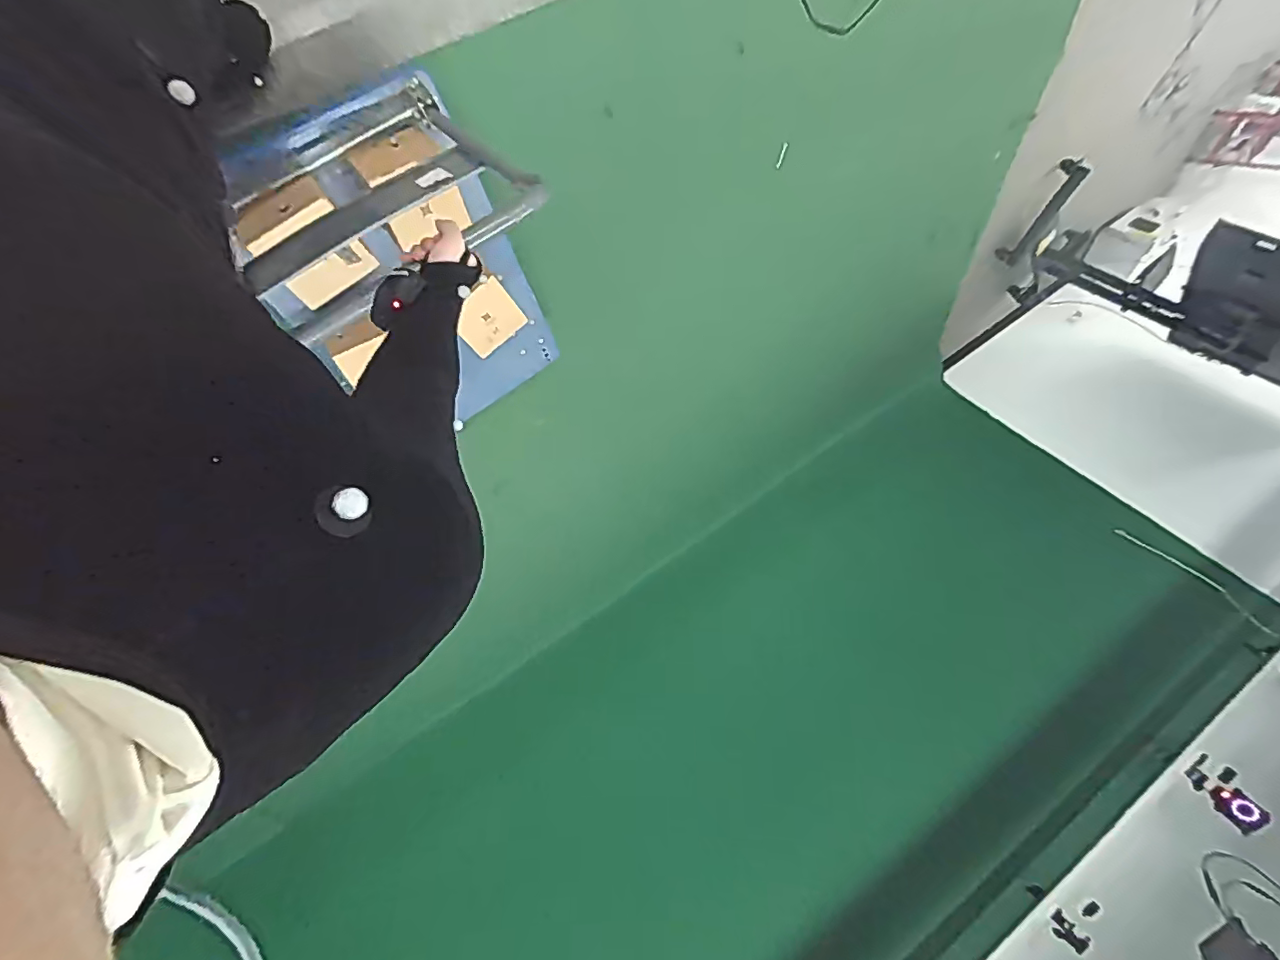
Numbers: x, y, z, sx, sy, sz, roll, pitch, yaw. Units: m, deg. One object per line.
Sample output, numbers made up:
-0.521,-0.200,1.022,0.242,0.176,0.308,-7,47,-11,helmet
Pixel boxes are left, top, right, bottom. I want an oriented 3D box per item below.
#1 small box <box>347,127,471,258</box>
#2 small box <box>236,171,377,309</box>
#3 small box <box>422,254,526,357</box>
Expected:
-0.500,-0.627,1.176,0.168,0.176,0.179,-32,147,-14,small box
-0.693,-0.501,1.121,0.179,0.176,0.168,-37,148,-5,small box
-0.441,-0.470,1.431,0.168,0.176,0.179,-40,149,-1,small box
